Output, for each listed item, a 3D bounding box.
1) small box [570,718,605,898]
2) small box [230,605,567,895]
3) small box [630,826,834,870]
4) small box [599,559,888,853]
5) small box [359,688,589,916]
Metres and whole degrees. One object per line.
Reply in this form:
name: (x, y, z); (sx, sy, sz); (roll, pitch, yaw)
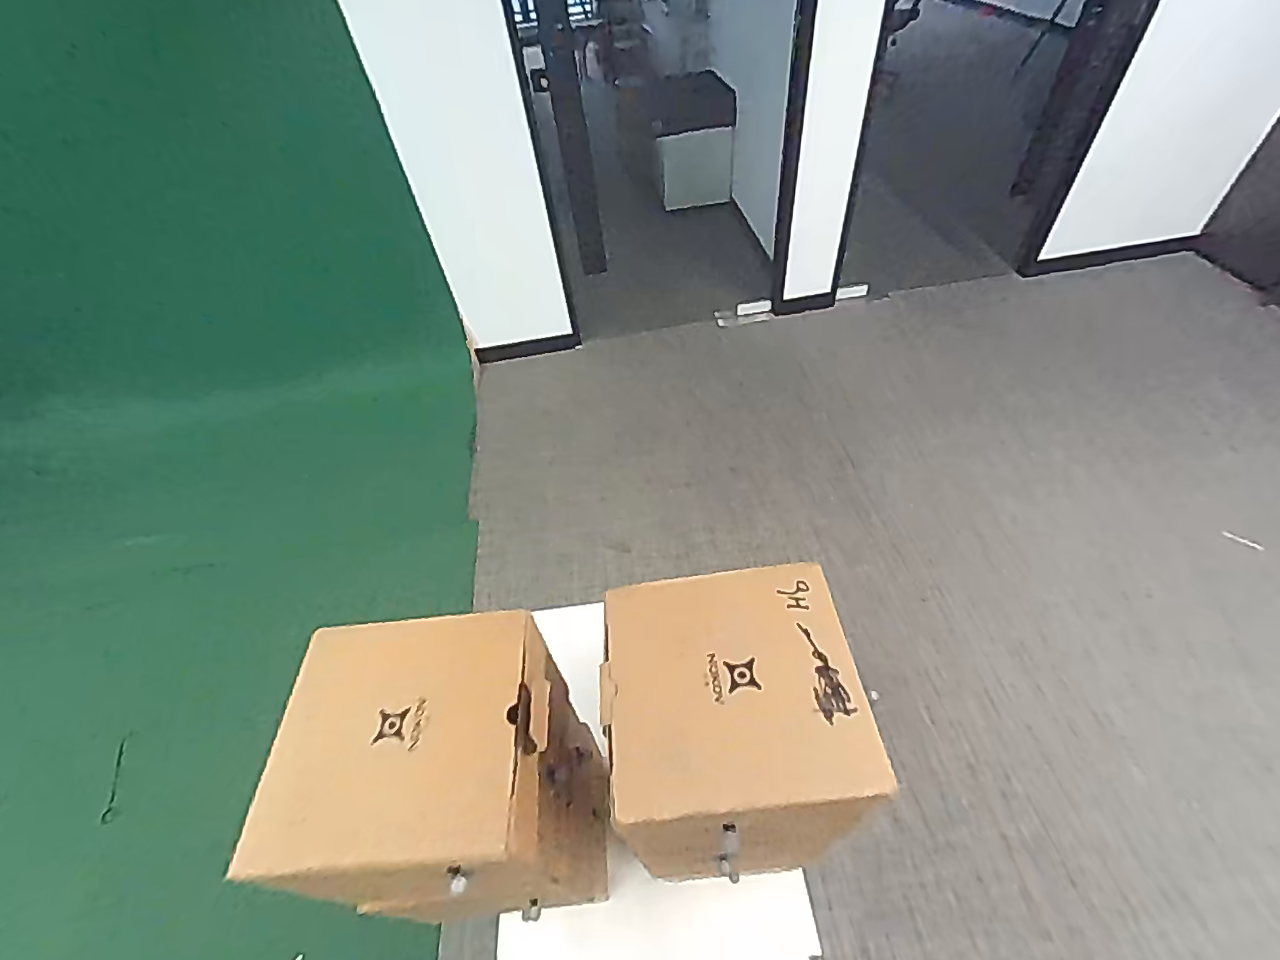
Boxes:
small box: (-0.137, 0.426, 0.690); (0.168, 0.176, 0.179); (-6, 49, -1)
small box: (-0.163, 0.222, 0.439); (0.179, 0.176, 0.168); (-5, 48, 0)
small box: (0.084, 0.293, 0.562); (0.179, 0.176, 0.168); (-6, 49, 2)
small box: (0.070, 0.188, 0.438); (0.179, 0.176, 0.168); (-9, 49, 3)
small box: (-0.148, 0.333, 0.558); (0.179, 0.176, 0.168); (-8, 48, 0)
